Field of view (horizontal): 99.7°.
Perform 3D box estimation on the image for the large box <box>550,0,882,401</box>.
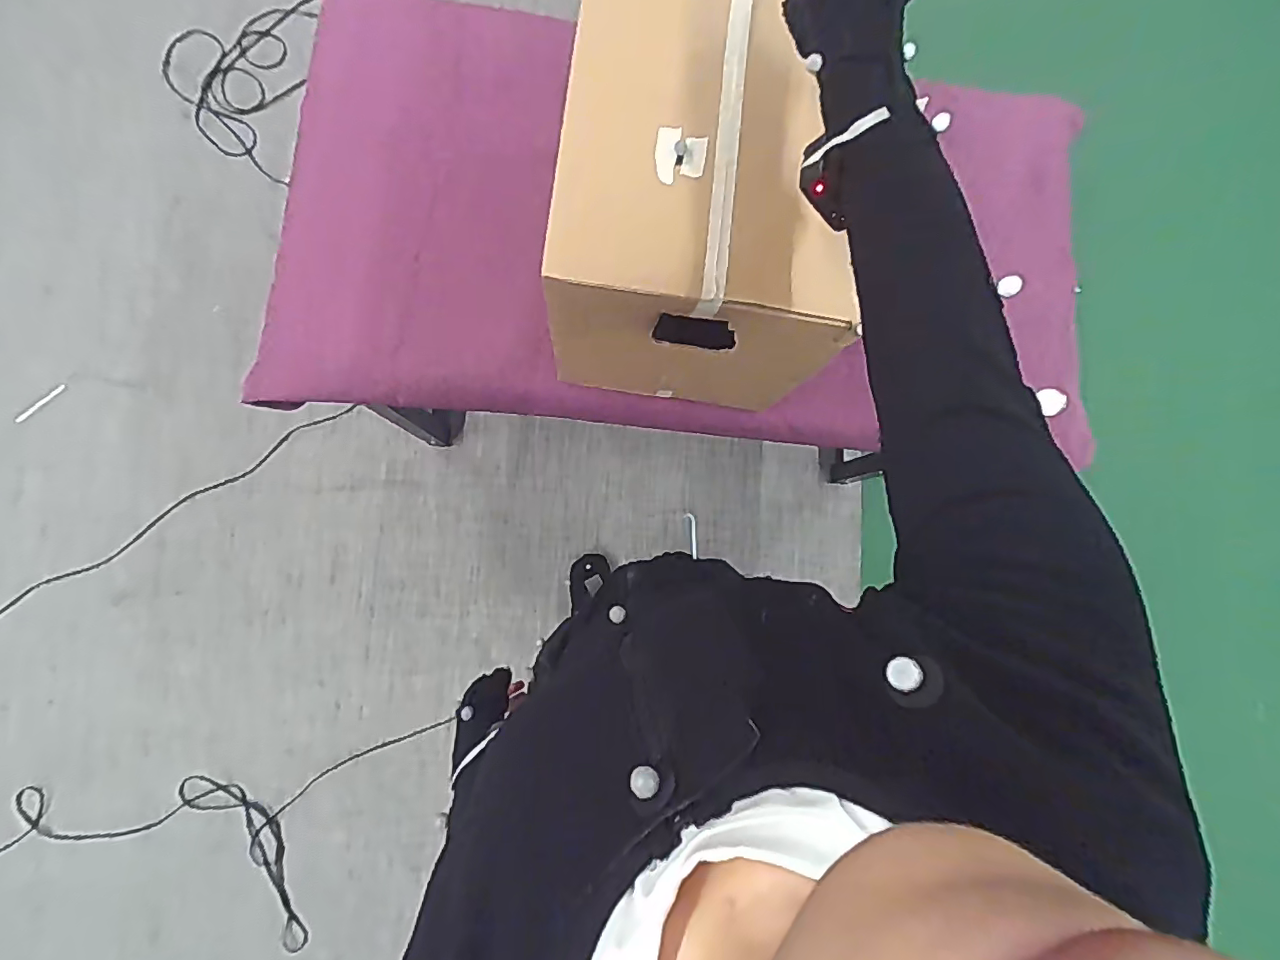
[{"bbox_3d":[0.070,-0.349,0.683,0.320,0.320,0.408,7,83,-5],"label":"large box"}]
